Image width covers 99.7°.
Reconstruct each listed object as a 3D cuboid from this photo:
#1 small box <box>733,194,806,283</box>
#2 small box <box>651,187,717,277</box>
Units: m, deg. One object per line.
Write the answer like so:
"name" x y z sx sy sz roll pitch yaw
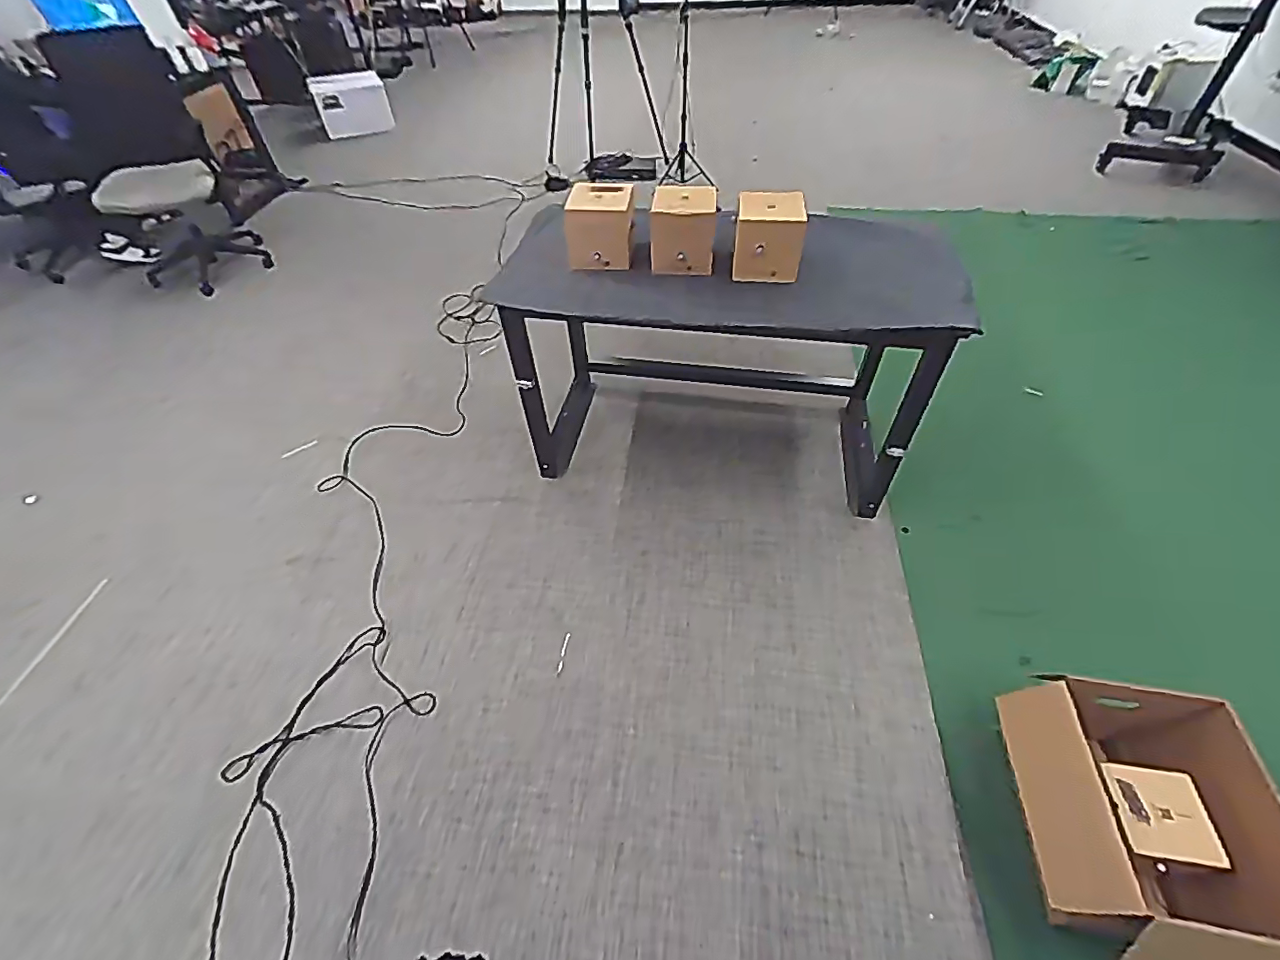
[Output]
"small box" 0.337 -0.637 1.431 0.168 0.176 0.179 4 48 6
"small box" 0.119 -0.675 1.471 0.168 0.176 0.179 3 49 5
